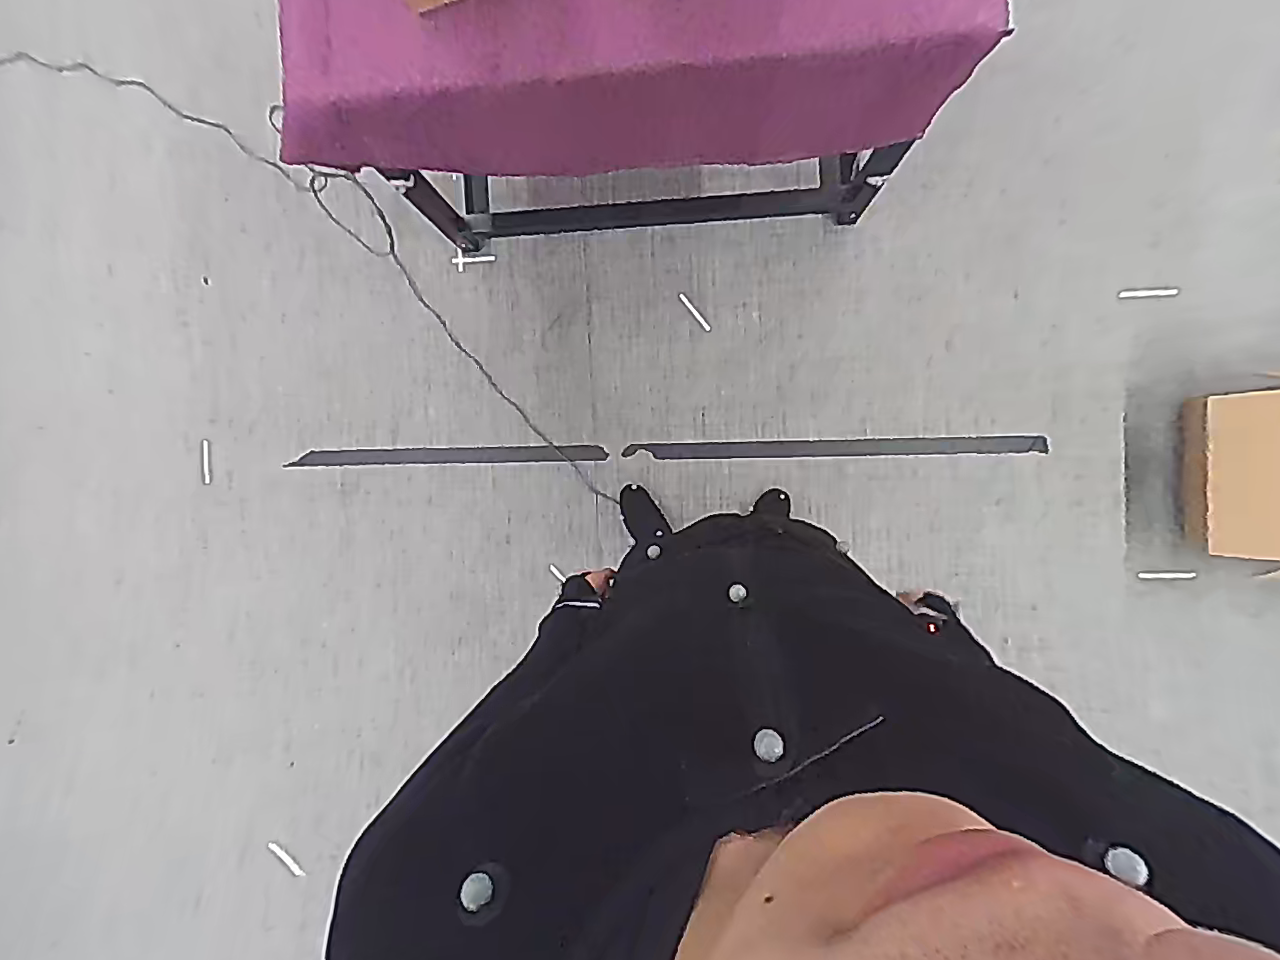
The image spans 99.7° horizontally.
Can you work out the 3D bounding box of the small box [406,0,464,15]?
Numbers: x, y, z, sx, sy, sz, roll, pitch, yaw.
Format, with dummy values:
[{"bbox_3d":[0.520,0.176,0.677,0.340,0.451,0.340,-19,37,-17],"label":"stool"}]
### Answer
[{"bbox_3d":[-0.334,-0.879,0.823,0.168,0.176,0.179,-16,91,5],"label":"small box"}]
